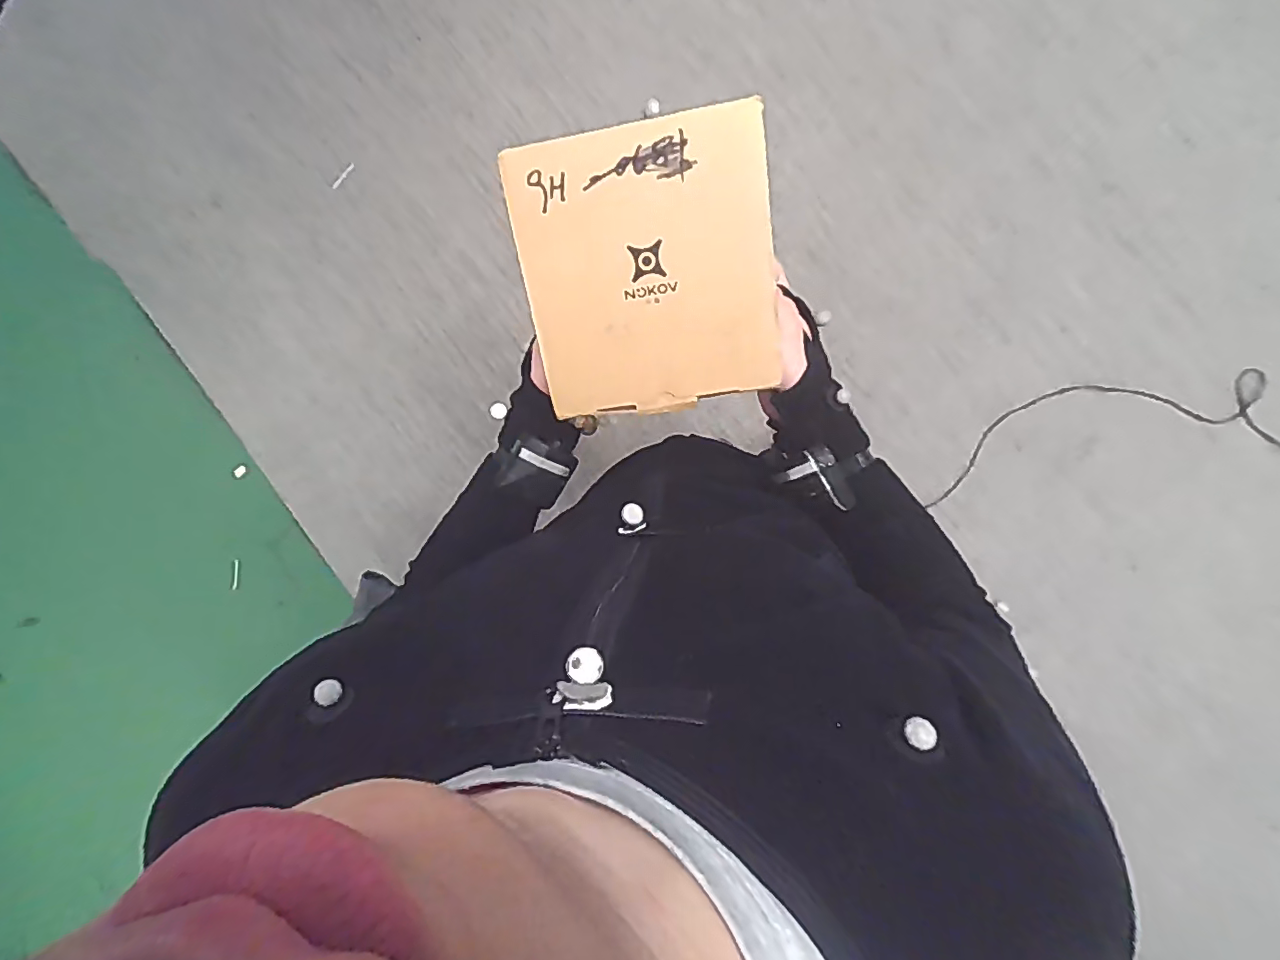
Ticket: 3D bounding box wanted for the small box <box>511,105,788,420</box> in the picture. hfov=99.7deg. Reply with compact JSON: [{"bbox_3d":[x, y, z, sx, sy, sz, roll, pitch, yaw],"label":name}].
[{"bbox_3d":[0.017,-0.163,0.431,0.168,0.176,0.179,-8,111,7],"label":"small box"}]
